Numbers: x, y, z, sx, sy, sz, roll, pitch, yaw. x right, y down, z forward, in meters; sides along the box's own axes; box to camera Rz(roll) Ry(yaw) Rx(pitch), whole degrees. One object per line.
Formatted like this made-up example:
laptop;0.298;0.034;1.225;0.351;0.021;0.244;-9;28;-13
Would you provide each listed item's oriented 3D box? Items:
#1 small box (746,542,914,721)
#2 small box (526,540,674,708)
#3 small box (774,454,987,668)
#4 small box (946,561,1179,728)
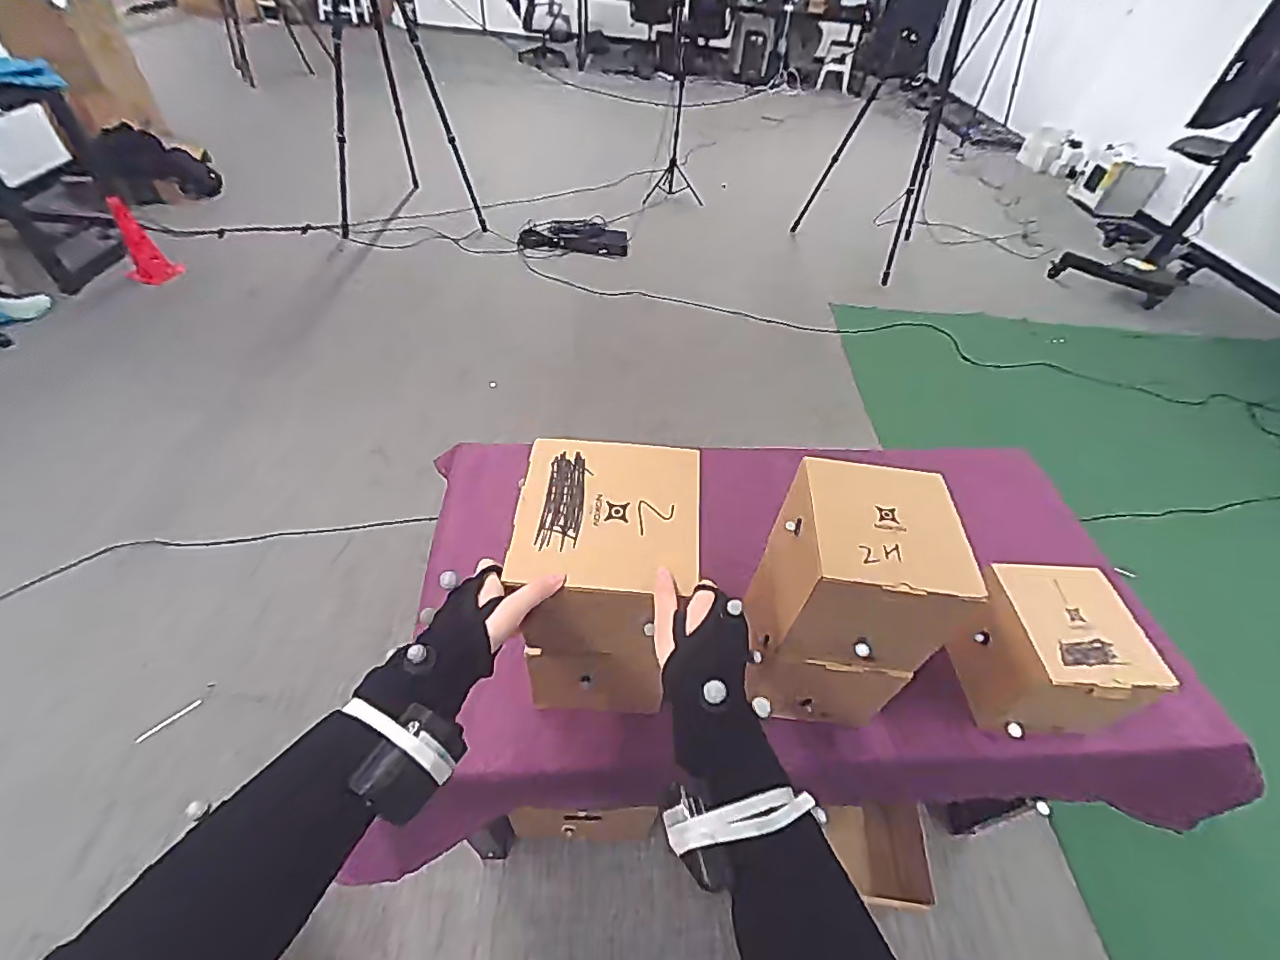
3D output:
small box;0.248;0.213;0.758;0.168;0.176;0.179;7;48;1
small box;-0.048;0.200;0.739;0.179;0.176;0.168;3;48;-2
small box;0.261;0.097;0.642;0.168;0.176;0.179;7;48;2
small box;0.569;0.236;0.765;0.168;0.176;0.179;3;47;-3
